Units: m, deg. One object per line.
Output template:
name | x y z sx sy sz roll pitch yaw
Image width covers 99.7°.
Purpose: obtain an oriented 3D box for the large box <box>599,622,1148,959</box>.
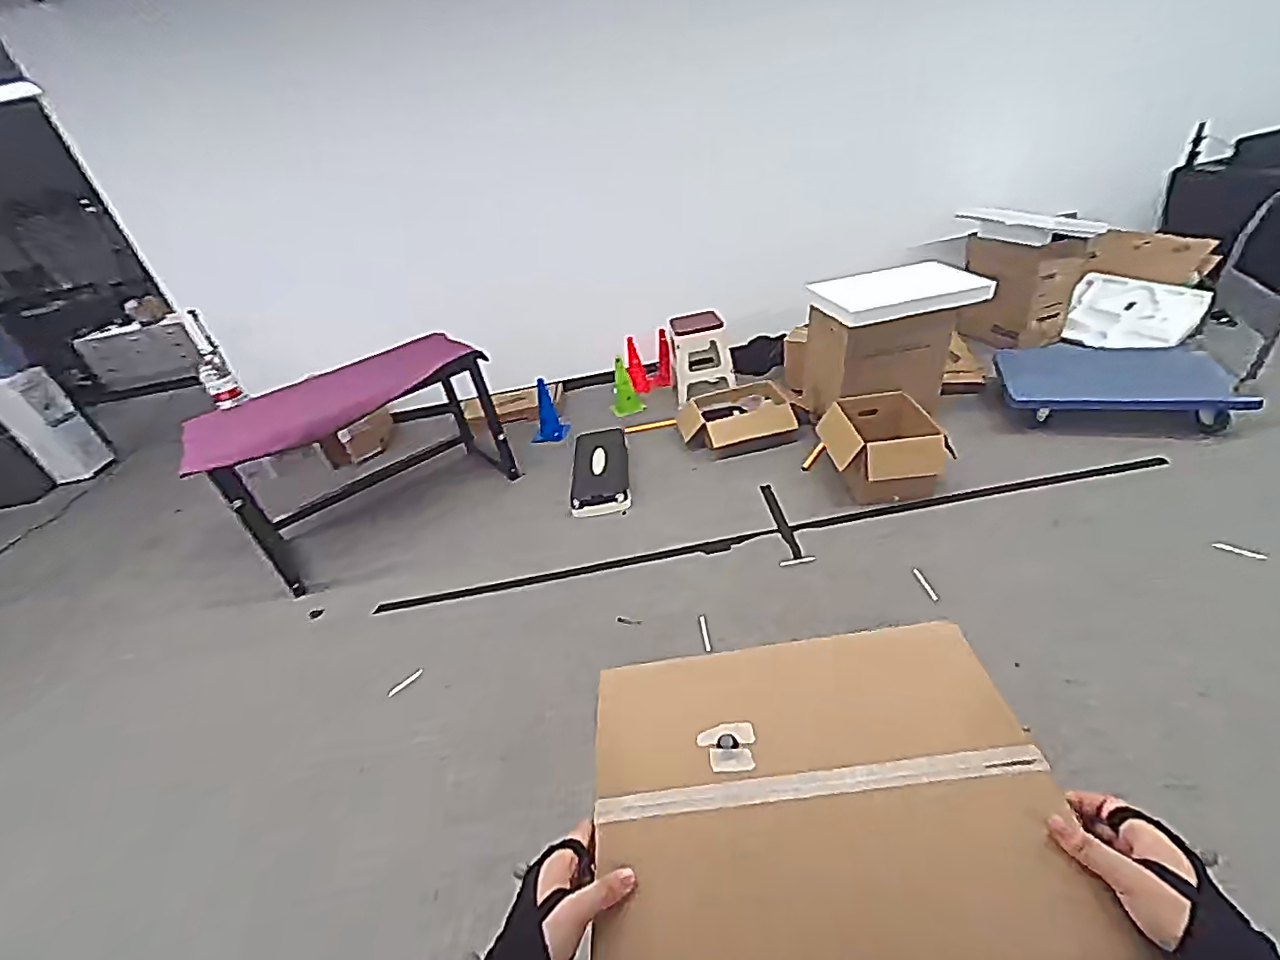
large box | 0.191 0.404 0.597 0.408 0.320 0.320 -11 35 7
